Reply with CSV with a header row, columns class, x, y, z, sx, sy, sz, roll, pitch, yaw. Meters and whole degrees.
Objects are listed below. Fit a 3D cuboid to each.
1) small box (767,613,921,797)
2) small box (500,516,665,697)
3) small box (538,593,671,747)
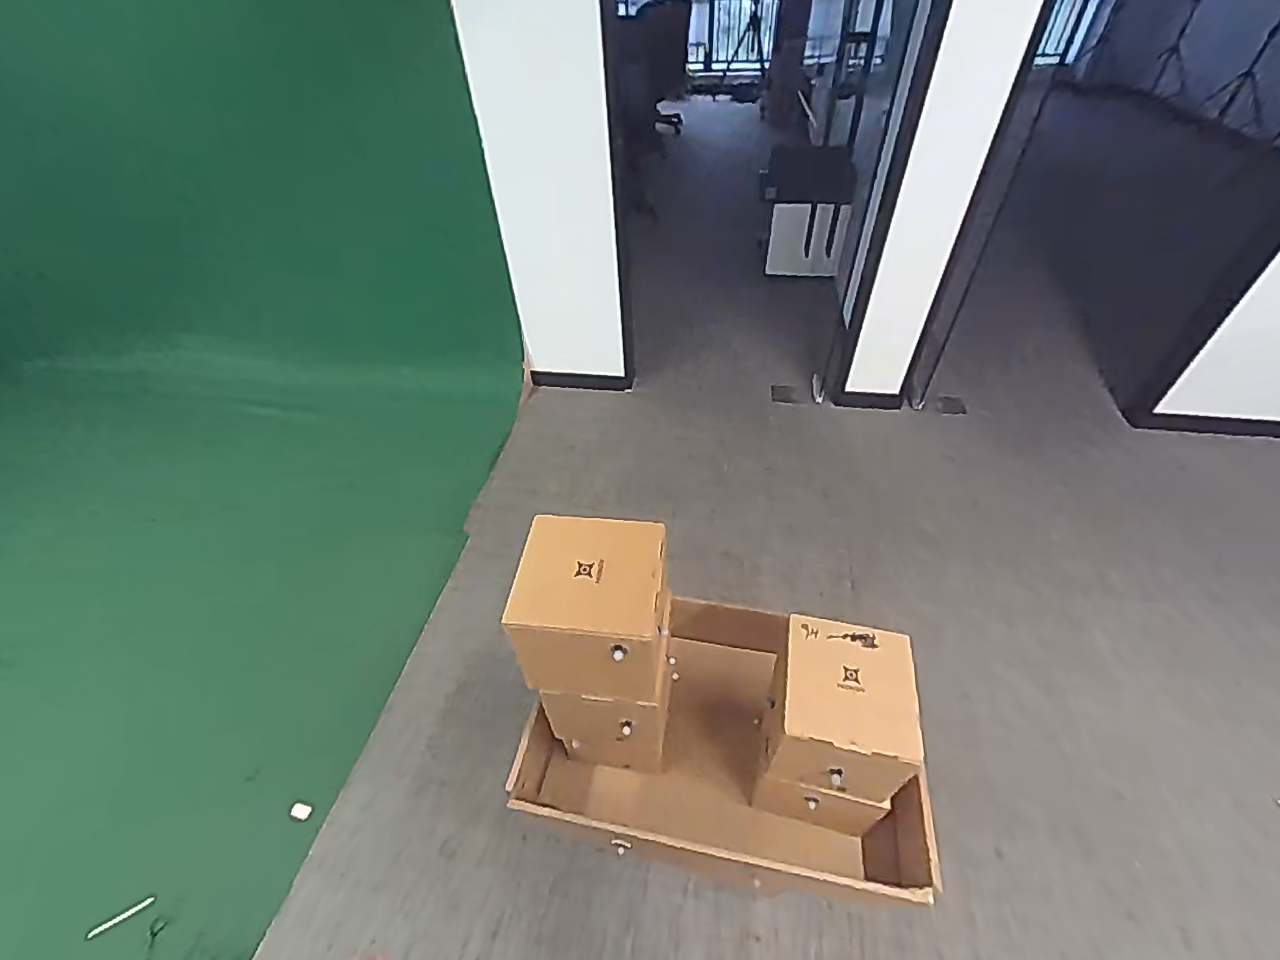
class,x,y,z,sx,sy,sz,roll,pitch,yaw
small box,0.277,0.320,0.764,0.168,0.176,0.179,9,47,10
small box,-0.061,0.167,0.707,0.179,0.176,0.168,4,46,5
small box,-0.041,0.283,0.820,0.168,0.176,0.179,4,45,6
